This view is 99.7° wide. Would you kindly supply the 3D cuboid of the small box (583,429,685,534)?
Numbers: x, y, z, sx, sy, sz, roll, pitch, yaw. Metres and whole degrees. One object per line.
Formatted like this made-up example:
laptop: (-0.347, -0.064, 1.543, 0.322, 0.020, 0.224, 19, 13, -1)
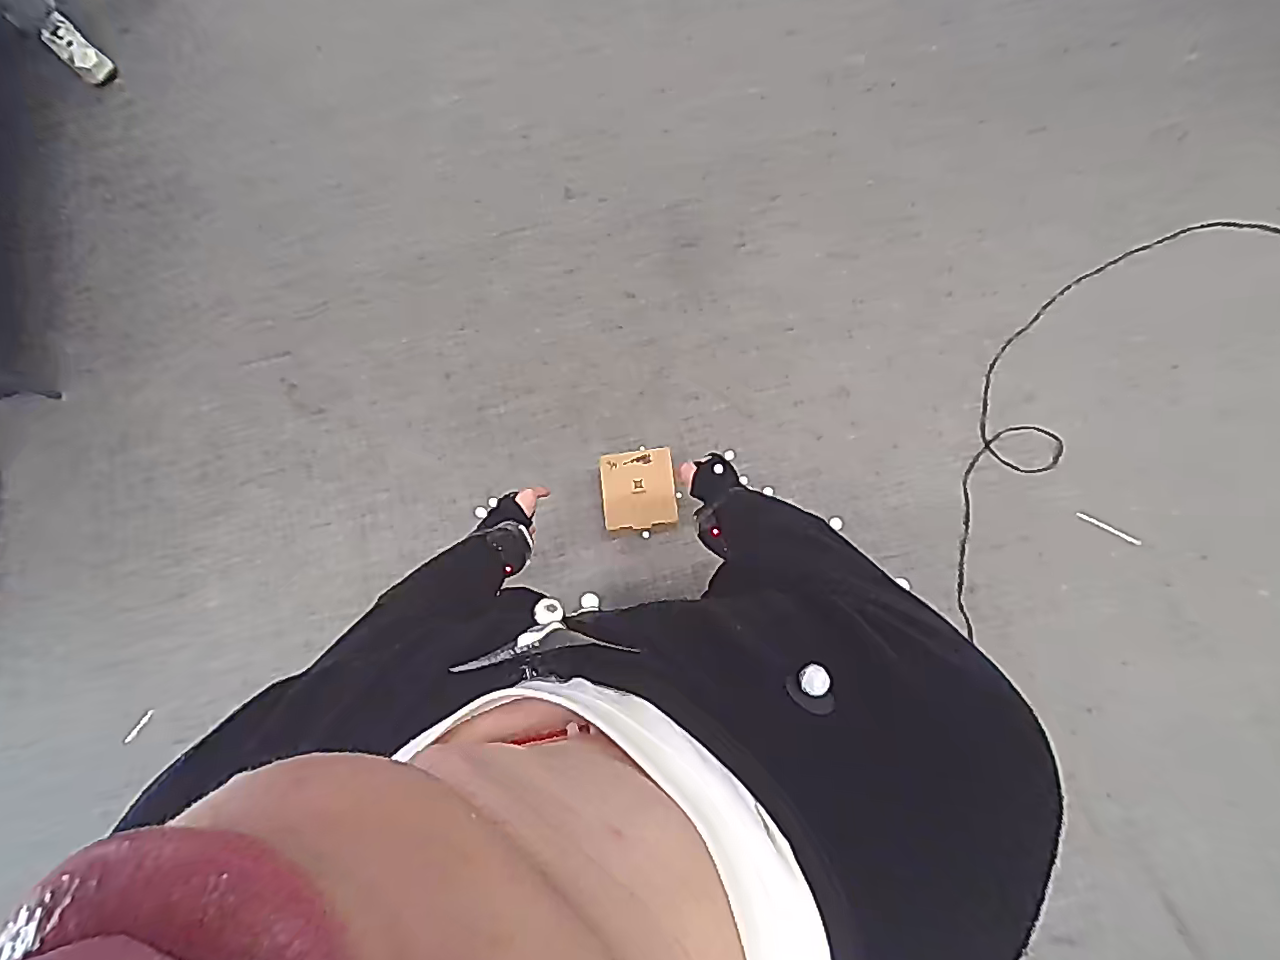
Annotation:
small box: (-0.006, 0.012, 1.294, 0.179, 0.176, 0.168, -36, 76, 0)
